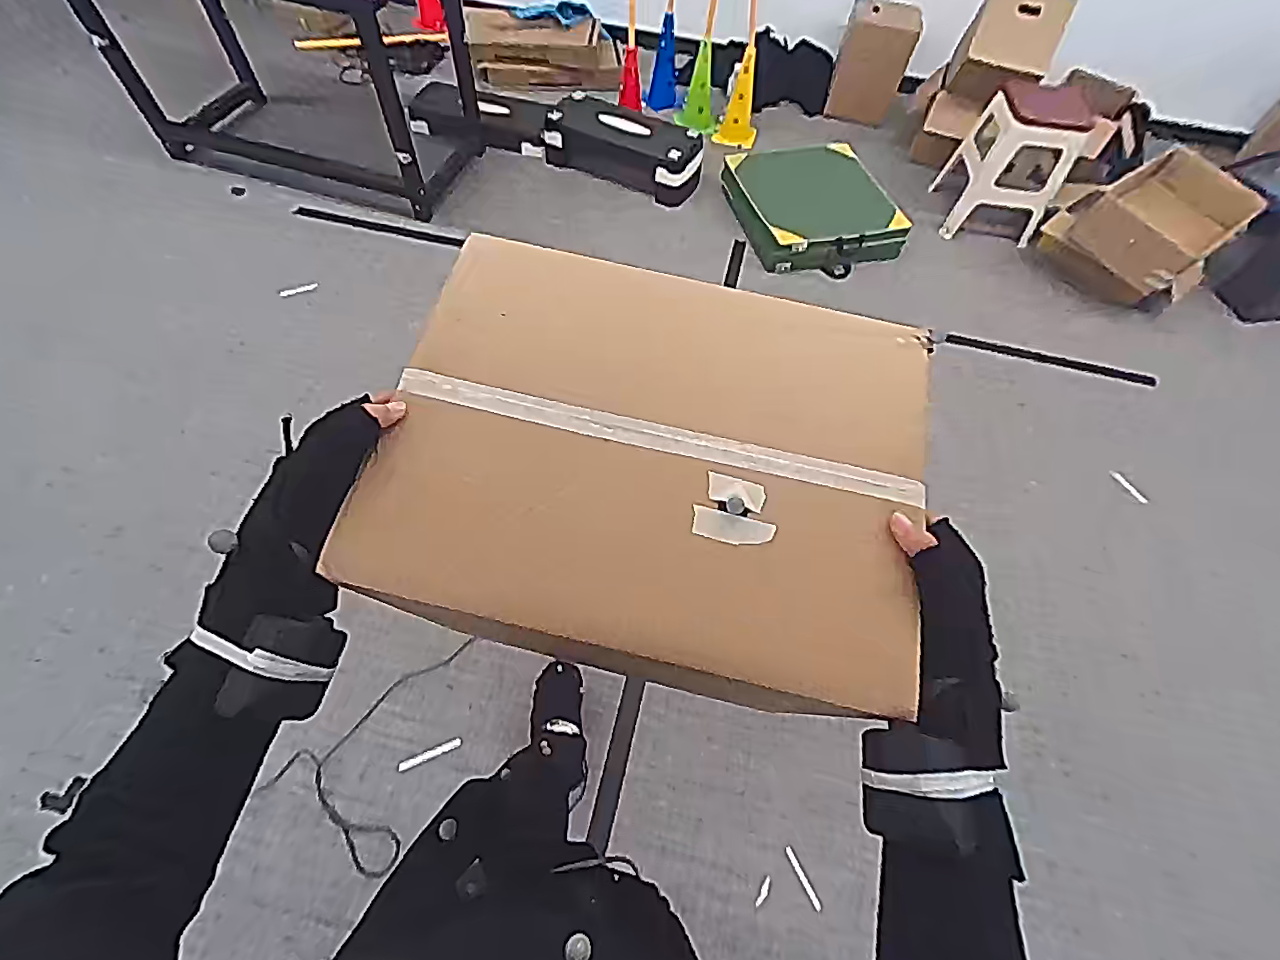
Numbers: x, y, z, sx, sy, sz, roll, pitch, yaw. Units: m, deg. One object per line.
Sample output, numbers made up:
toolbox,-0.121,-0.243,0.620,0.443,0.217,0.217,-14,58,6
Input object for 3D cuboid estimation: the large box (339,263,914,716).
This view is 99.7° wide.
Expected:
large box,0.005,0.036,0.559,0.408,0.320,0.320,13,69,2
